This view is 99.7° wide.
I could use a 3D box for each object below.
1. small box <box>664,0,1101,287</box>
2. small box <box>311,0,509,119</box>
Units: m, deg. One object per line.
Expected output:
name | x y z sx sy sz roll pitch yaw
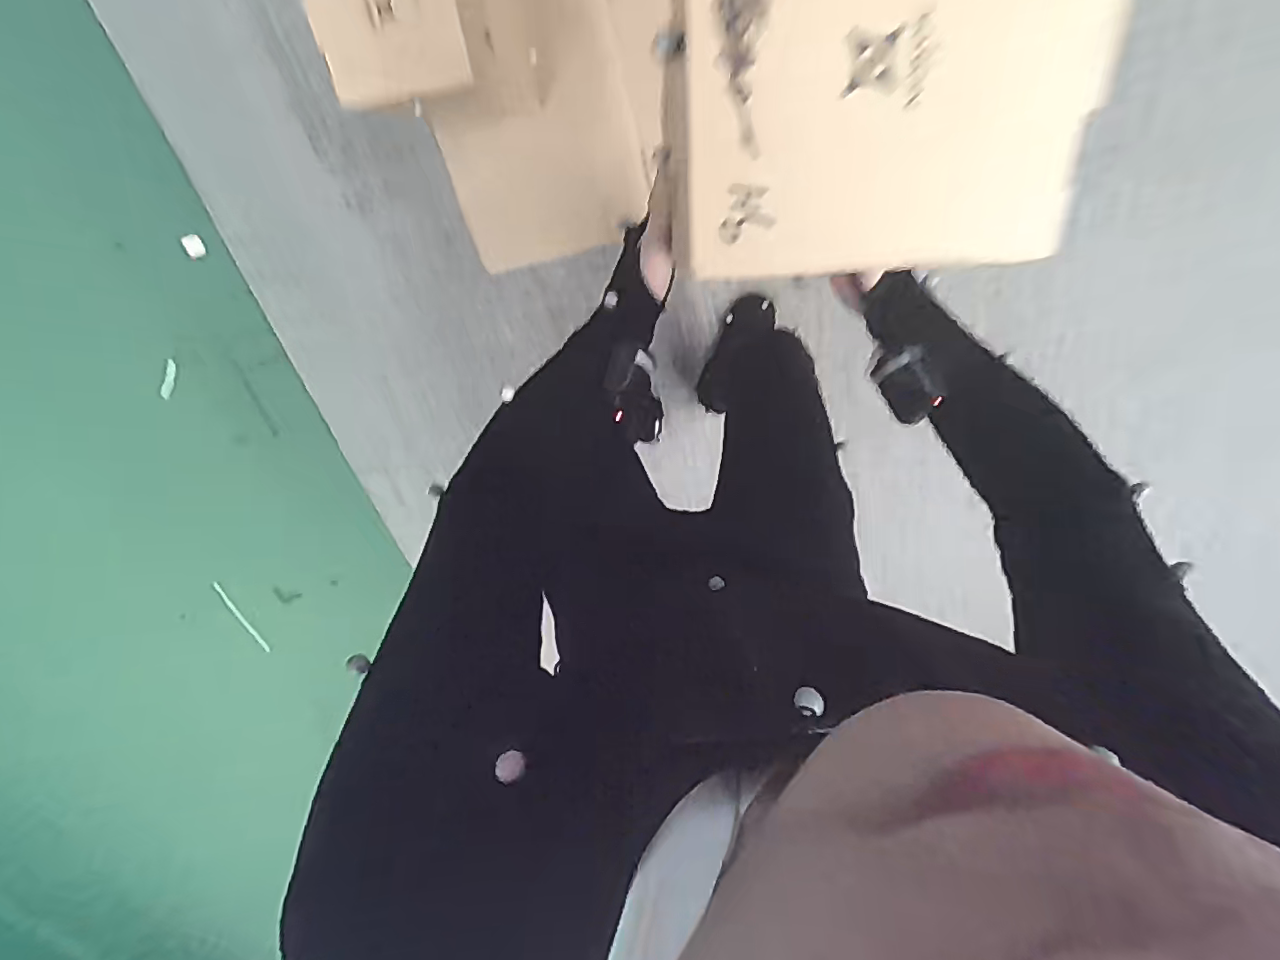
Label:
small box | 0.104 -0.204 0.304 0.179 0.176 0.168 -2 113 3
small box | -0.291 -0.586 0.704 0.179 0.176 0.168 -6 119 5
